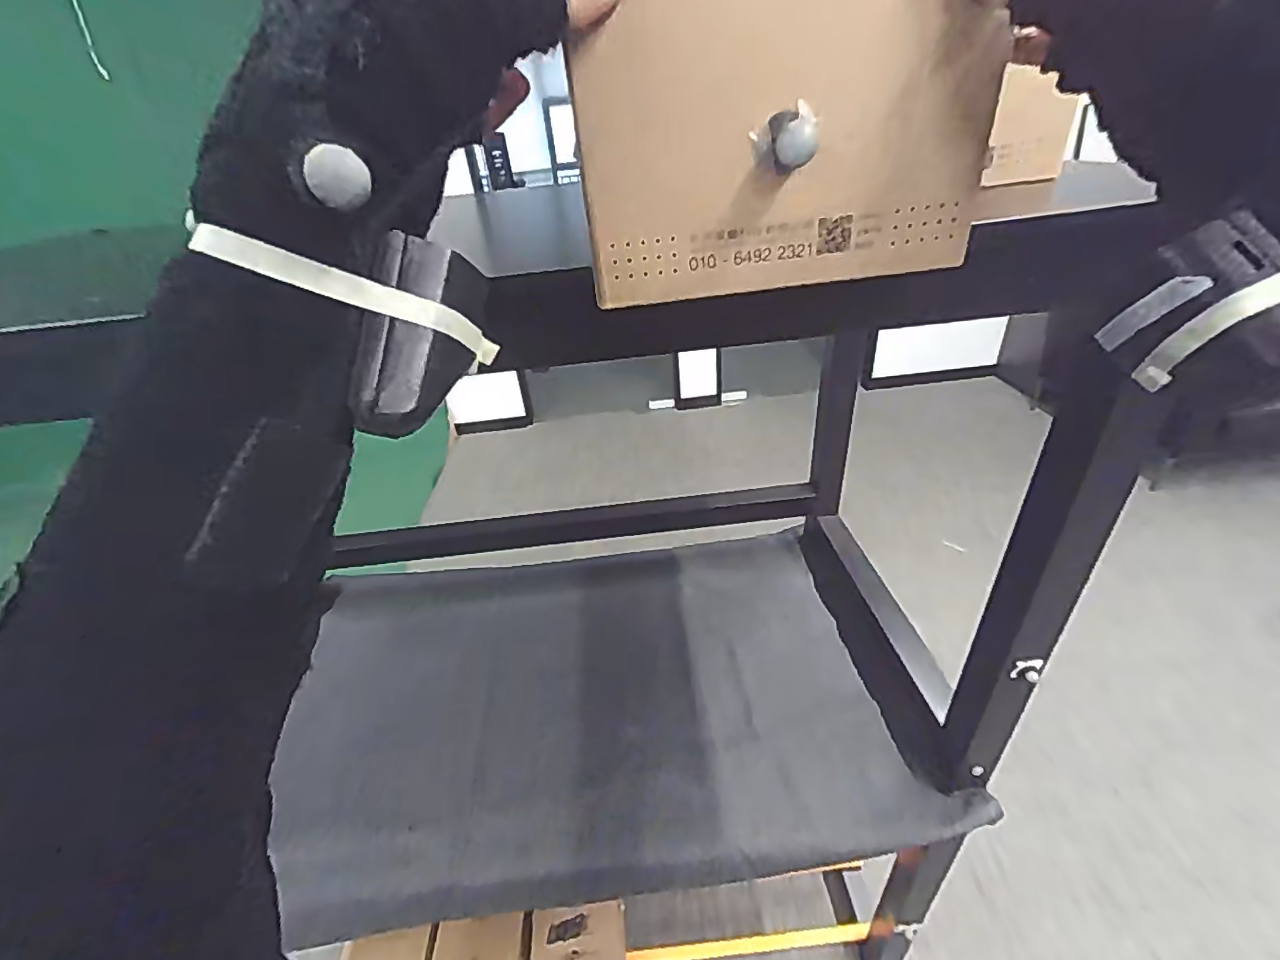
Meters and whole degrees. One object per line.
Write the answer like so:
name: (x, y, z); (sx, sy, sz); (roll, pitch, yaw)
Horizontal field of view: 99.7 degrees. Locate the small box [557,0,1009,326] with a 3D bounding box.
small box: (0.049, -0.191, 0.277); (0.168, 0.176, 0.179); (-8, 35, 0)
